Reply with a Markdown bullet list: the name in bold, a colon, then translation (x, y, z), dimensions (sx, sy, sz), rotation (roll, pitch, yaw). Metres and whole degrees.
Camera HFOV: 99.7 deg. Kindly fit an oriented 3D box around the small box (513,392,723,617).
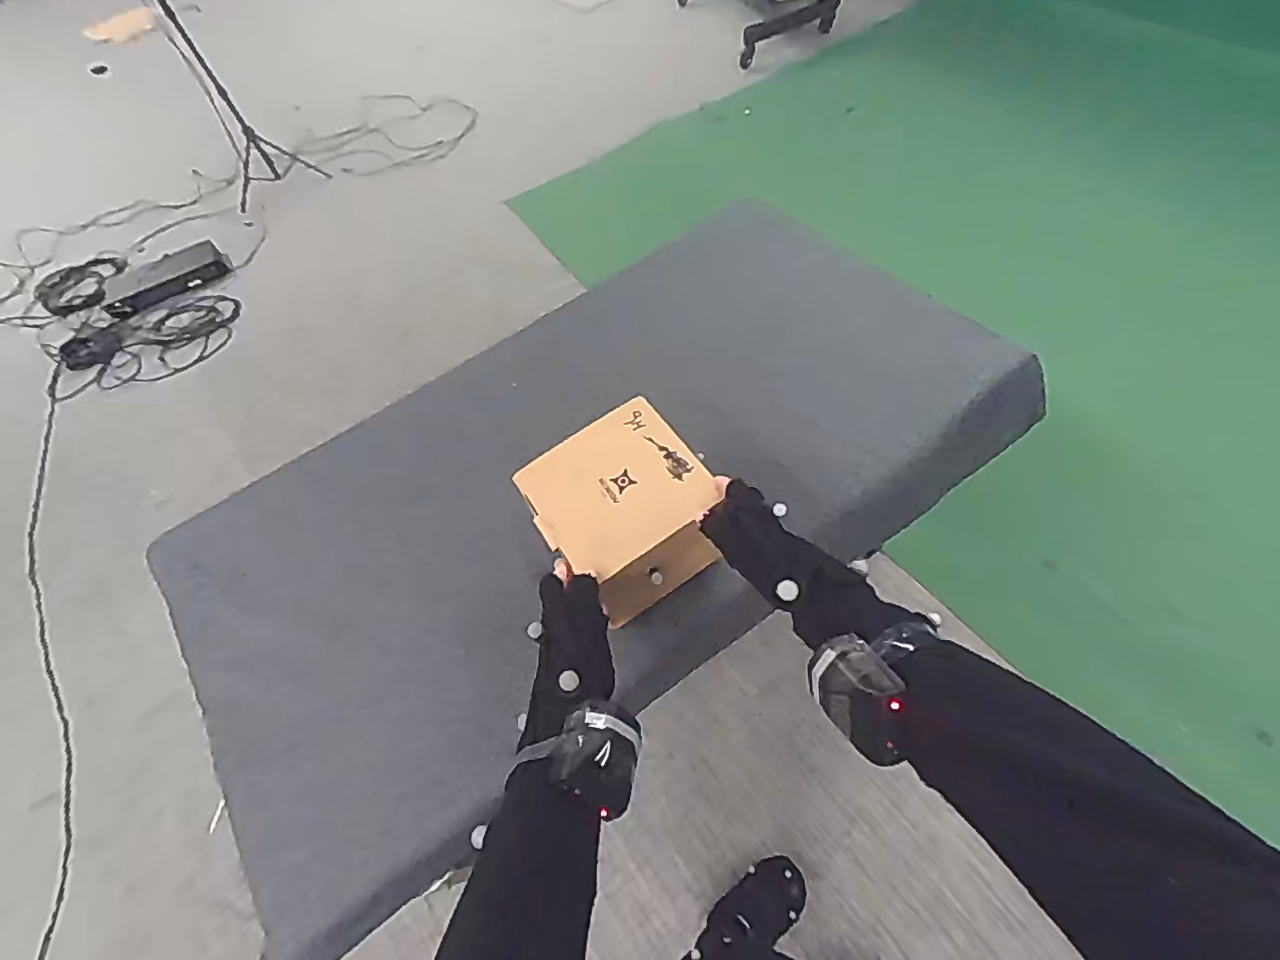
- **small box**: translation (-0.015, 0.038, 0.641), dimensions (0.179, 0.176, 0.168), rotation (-35, 63, -7)
